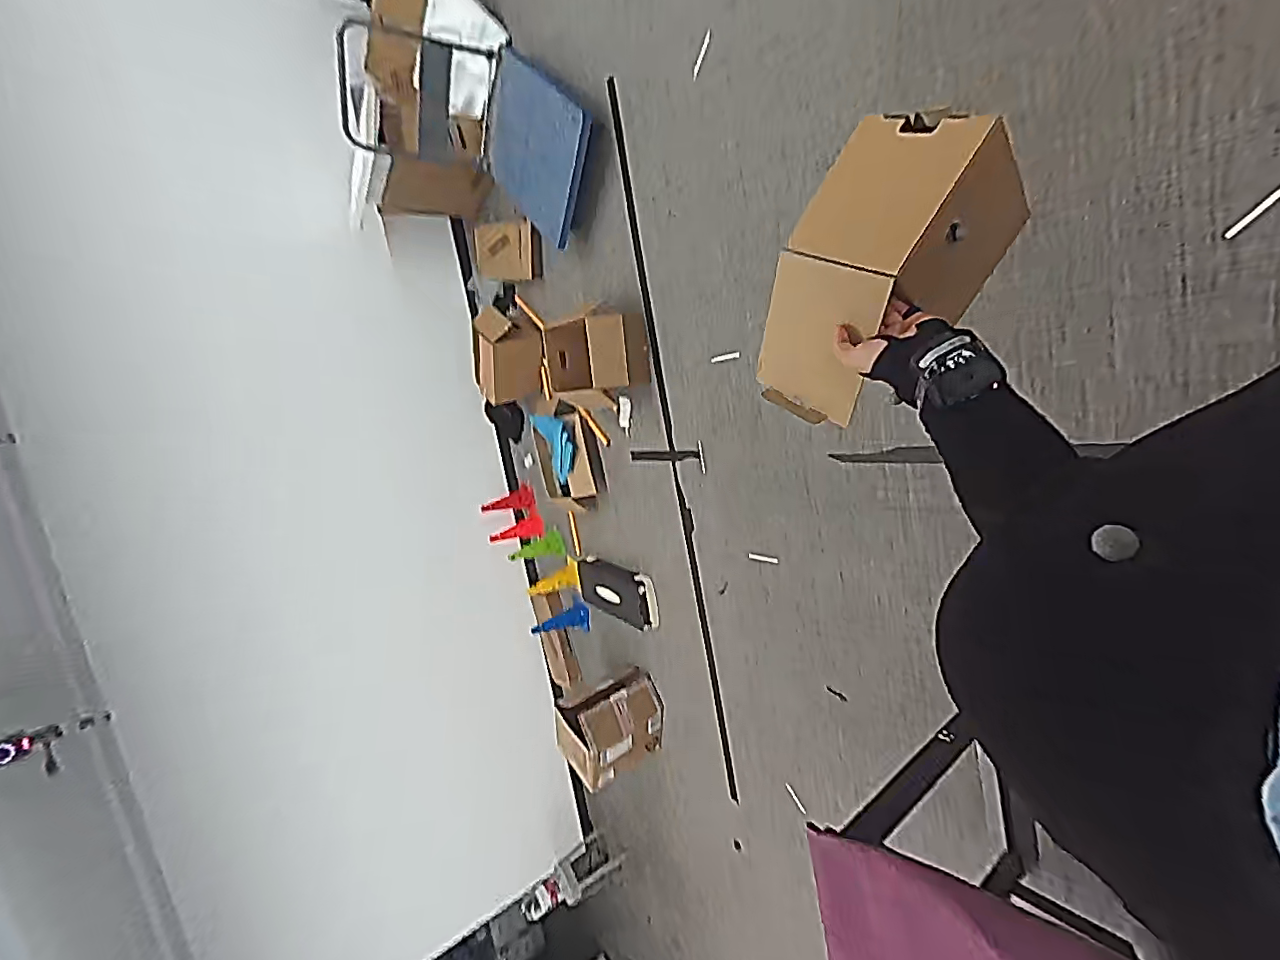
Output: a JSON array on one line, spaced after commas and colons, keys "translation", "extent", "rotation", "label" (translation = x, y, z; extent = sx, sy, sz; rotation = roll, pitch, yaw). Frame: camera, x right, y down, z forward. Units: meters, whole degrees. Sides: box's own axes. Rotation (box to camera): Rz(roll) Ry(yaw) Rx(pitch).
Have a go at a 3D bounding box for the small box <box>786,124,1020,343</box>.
[{"translation": [0.321, -0.293, 0.658], "extent": [0.168, 0.176, 0.179], "rotation": [42, 105, 45], "label": "small box"}]
